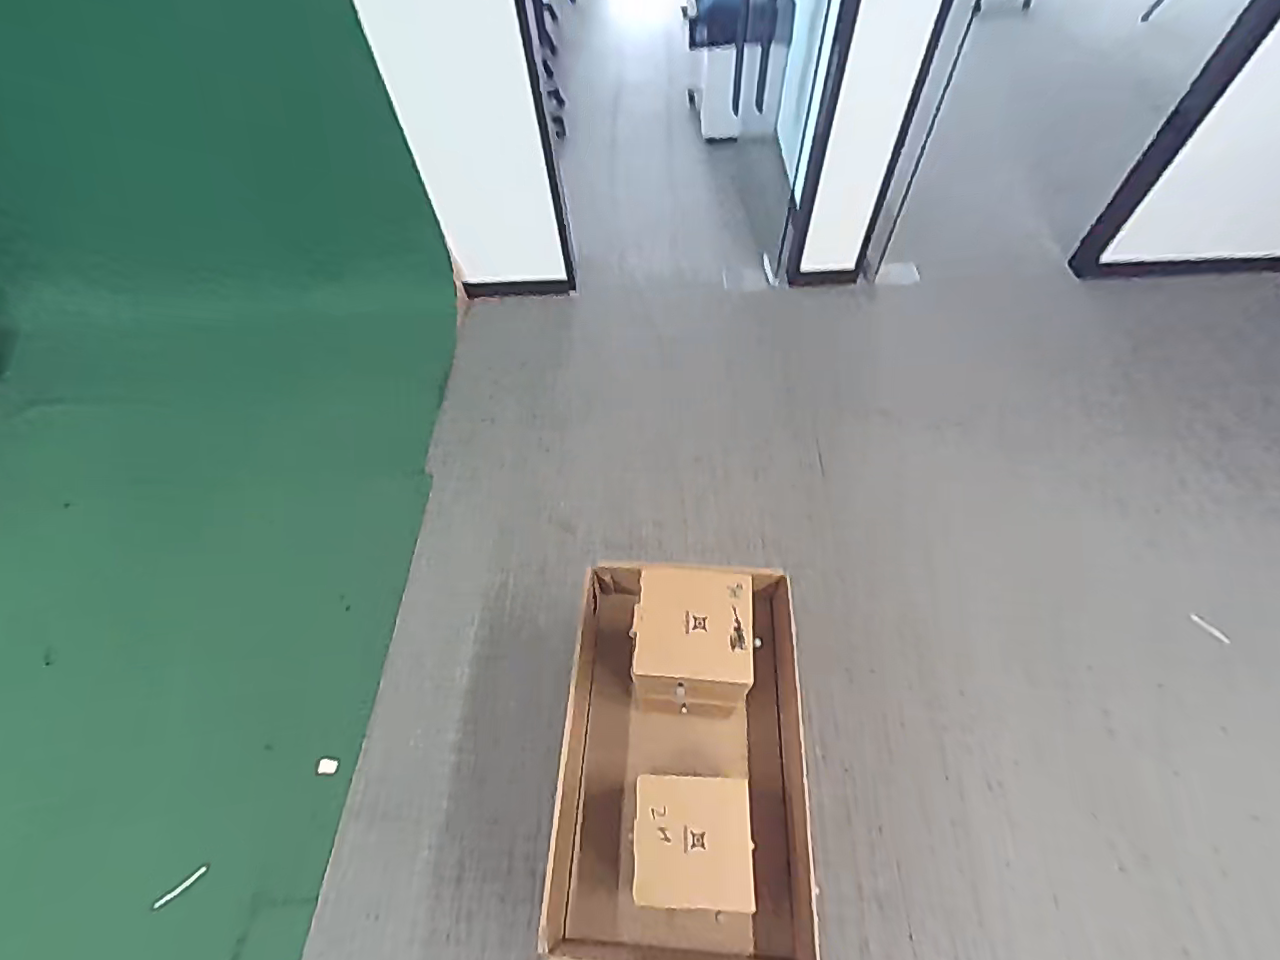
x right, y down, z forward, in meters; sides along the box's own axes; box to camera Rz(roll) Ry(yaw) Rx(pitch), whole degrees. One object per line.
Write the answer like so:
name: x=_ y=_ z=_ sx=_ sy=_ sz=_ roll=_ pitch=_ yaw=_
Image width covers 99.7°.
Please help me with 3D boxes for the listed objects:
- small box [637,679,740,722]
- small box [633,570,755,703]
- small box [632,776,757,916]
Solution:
small box: x=0.092 y=0.348 z=1.015 sx=0.179 sy=0.176 sz=0.168 roll=5 pitch=58 yaw=4
small box: x=0.089 y=0.258 z=0.877 sx=0.179 sy=0.176 sz=0.168 roll=4 pitch=59 yaw=5
small box: x=0.082 y=0.576 z=0.863 sx=0.179 sy=0.176 sz=0.168 roll=1 pitch=56 yaw=3
